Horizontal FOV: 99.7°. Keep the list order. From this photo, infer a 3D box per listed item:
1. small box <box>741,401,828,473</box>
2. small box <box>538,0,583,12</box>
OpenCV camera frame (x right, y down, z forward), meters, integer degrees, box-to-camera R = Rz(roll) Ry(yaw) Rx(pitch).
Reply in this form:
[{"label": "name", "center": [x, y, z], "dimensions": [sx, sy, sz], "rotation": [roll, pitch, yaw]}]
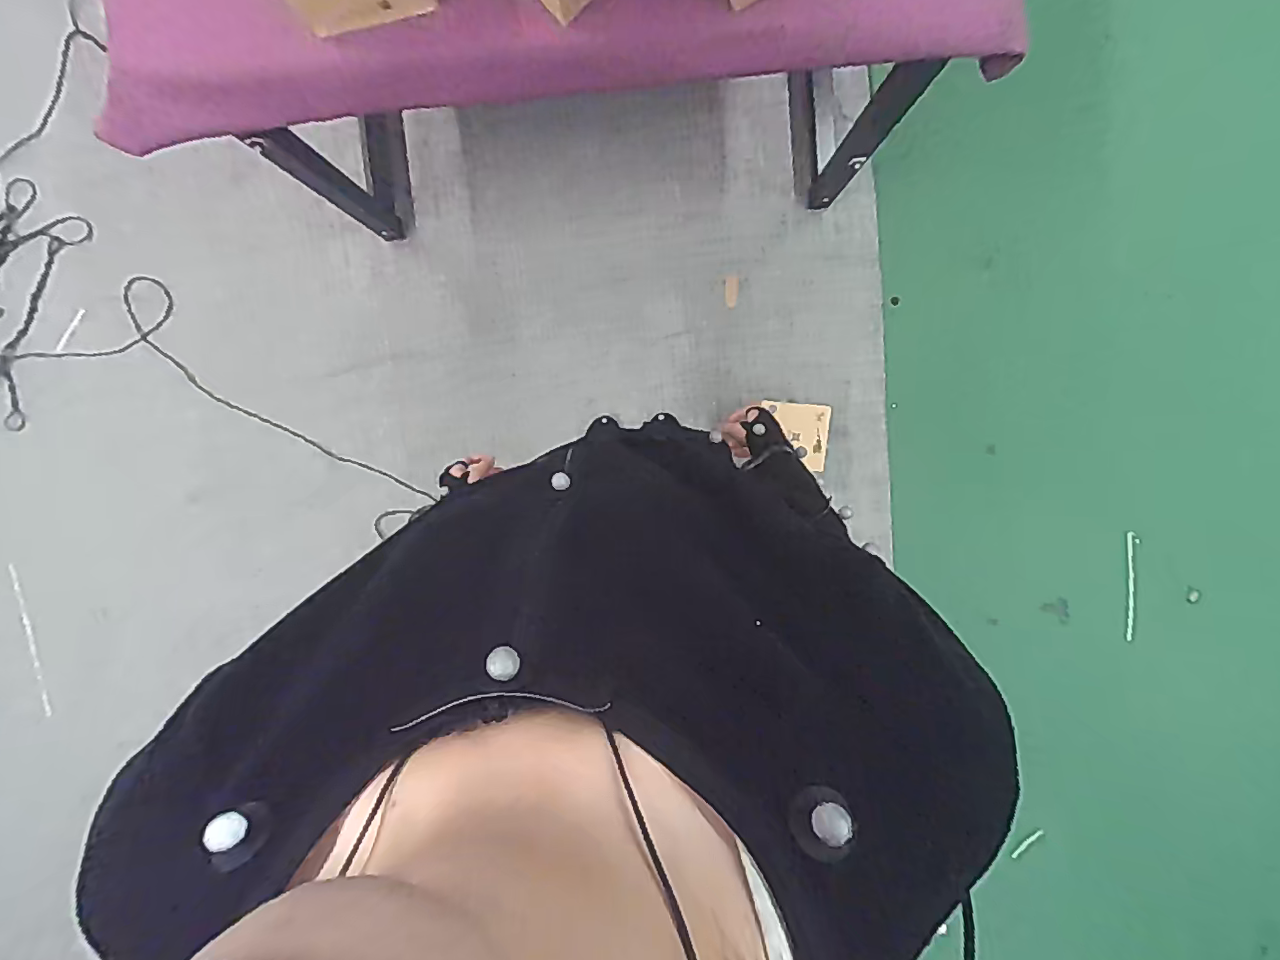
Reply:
[{"label": "small box", "center": [0.368, -0.113, 1.413], "dimensions": [0.179, 0.176, 0.168], "rotation": [5, 96, 0]}, {"label": "small box", "center": [-0.101, -0.704, 0.623], "dimensions": [0.168, 0.176, 0.179], "rotation": [-43, 93, 3]}]
